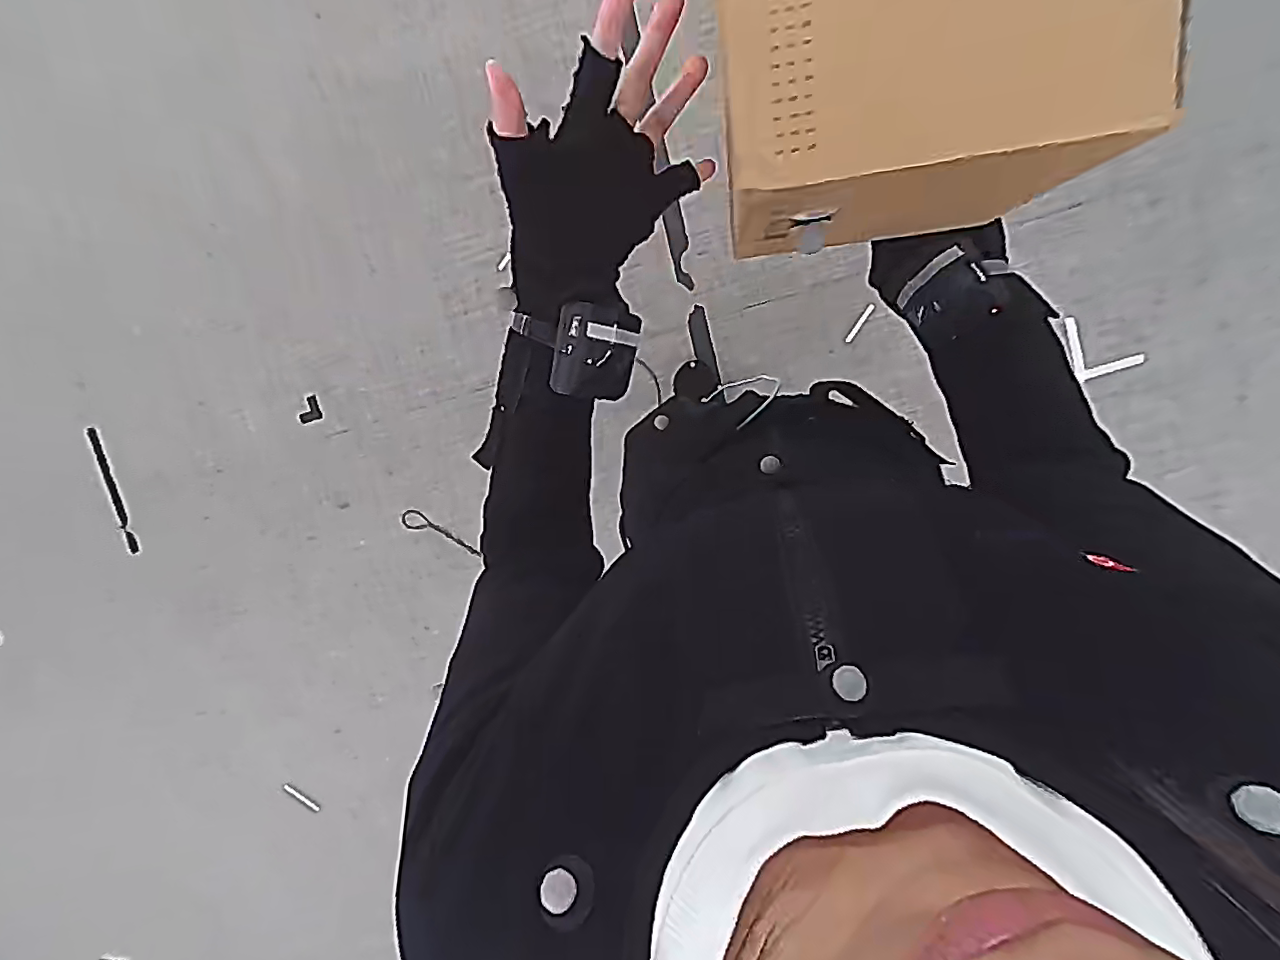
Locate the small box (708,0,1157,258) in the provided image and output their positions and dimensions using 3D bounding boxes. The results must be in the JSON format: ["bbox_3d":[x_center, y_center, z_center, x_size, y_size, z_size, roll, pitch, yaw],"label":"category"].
[{"bbox_3d":[0.122,-0.236,0.291,0.176,0.168,0.179,-4,101,10],"label":"small box"}]
